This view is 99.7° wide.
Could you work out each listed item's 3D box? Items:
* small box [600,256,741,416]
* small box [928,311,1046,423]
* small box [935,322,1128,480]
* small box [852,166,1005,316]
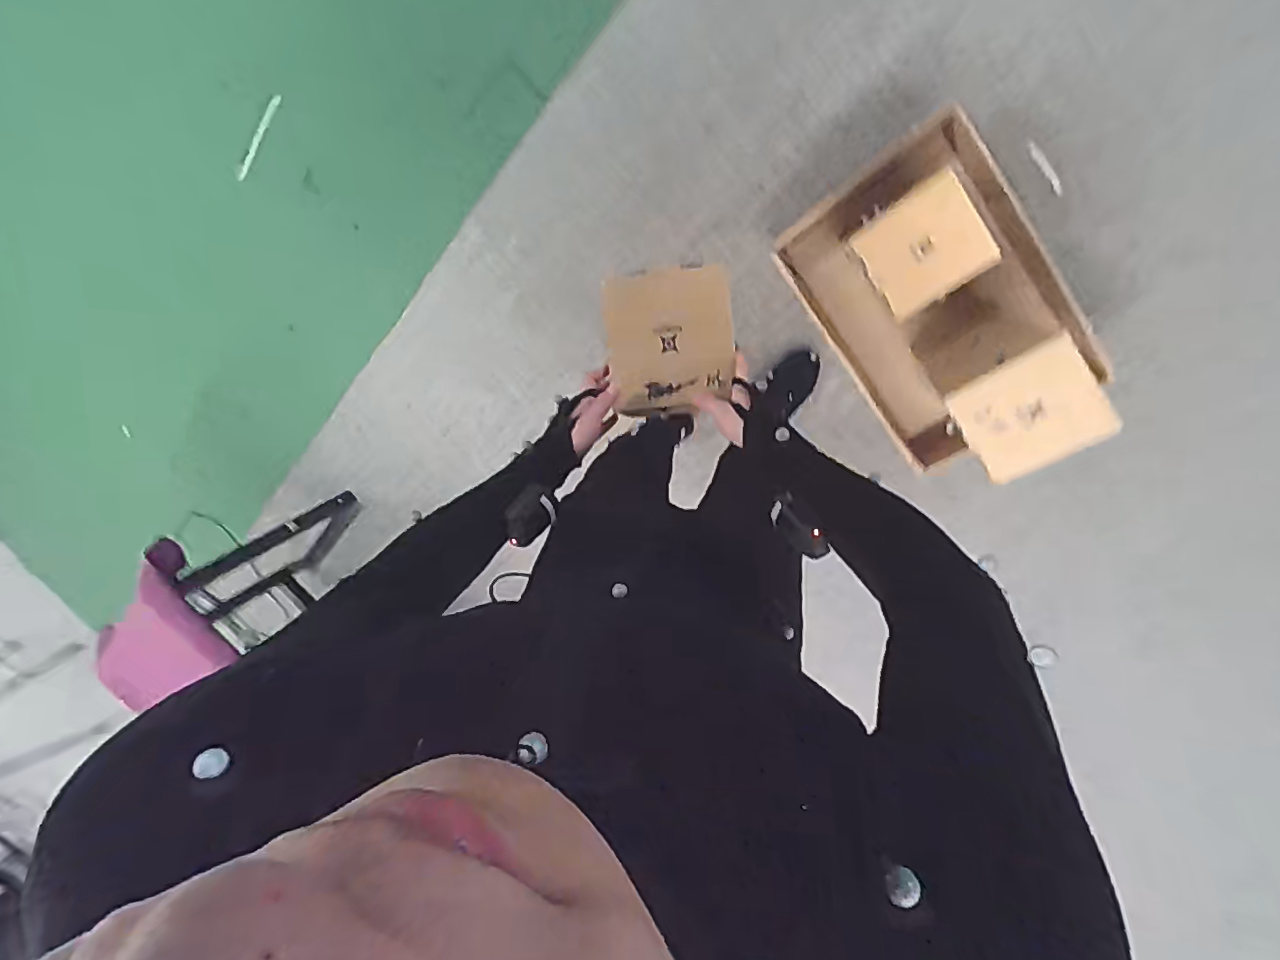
[{"bbox_3d":[0.043,-0.189,0.758,0.168,0.176,0.179,-7,94,5],"label":"small box"},{"bbox_3d":[0.661,-0.194,1.005,0.179,0.176,0.168,-31,99,27],"label":"small box"},{"bbox_3d":[0.606,-0.133,0.862,0.179,0.176,0.168,-33,97,28],"label":"small box"},{"bbox_3d":[0.498,-0.421,0.964,0.179,0.176,0.168,-32,100,27],"label":"small box"}]
